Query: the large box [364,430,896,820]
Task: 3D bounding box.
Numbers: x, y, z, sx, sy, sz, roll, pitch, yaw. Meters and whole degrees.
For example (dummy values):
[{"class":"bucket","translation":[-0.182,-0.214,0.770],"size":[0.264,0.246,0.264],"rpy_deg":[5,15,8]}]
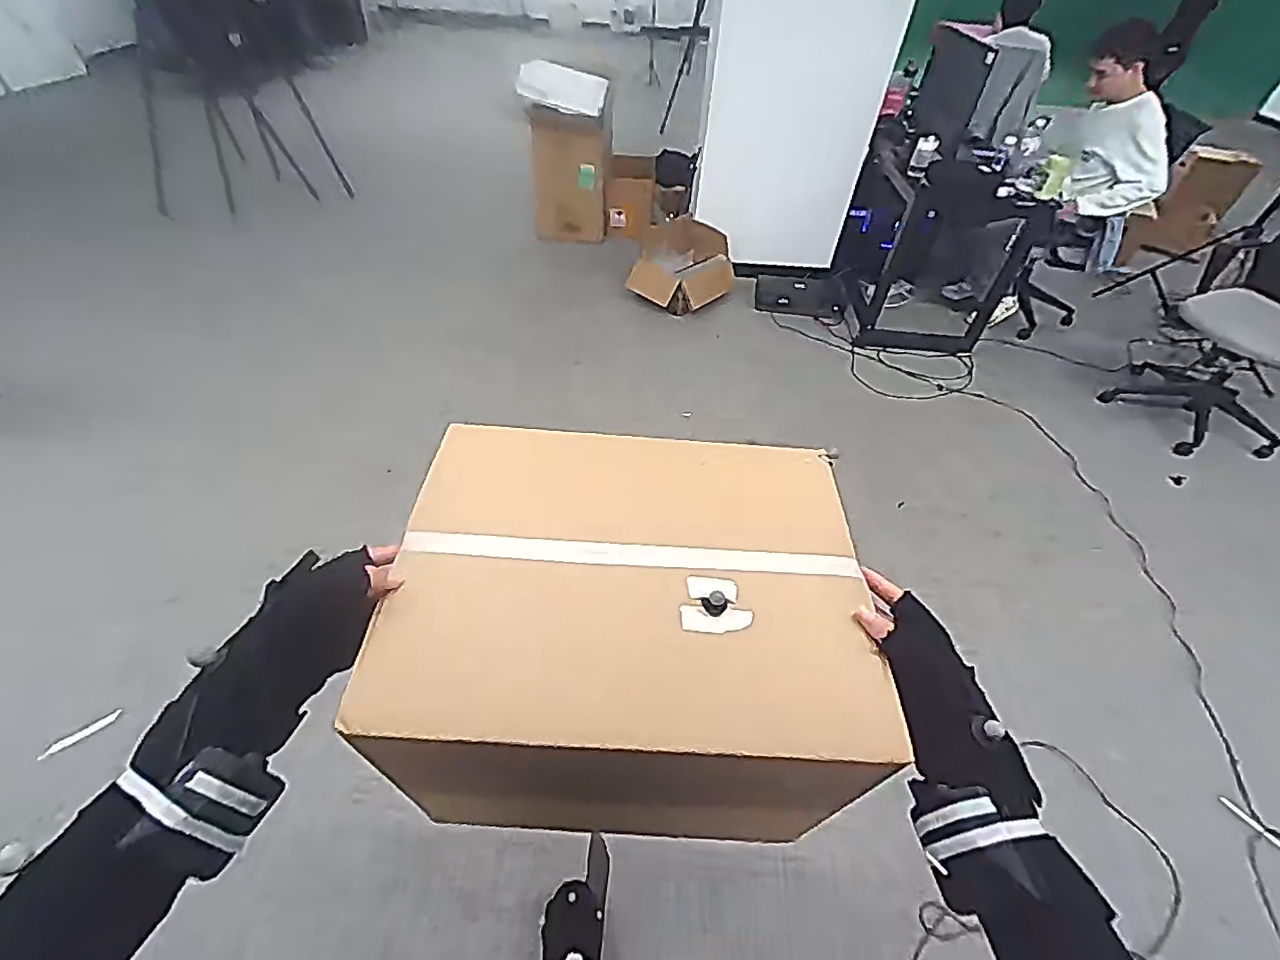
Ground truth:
[{"class":"large box","translation":[-0.013,0.168,0.604],"size":[0.408,0.320,0.320],"rpy_deg":[4,48,-2]}]
